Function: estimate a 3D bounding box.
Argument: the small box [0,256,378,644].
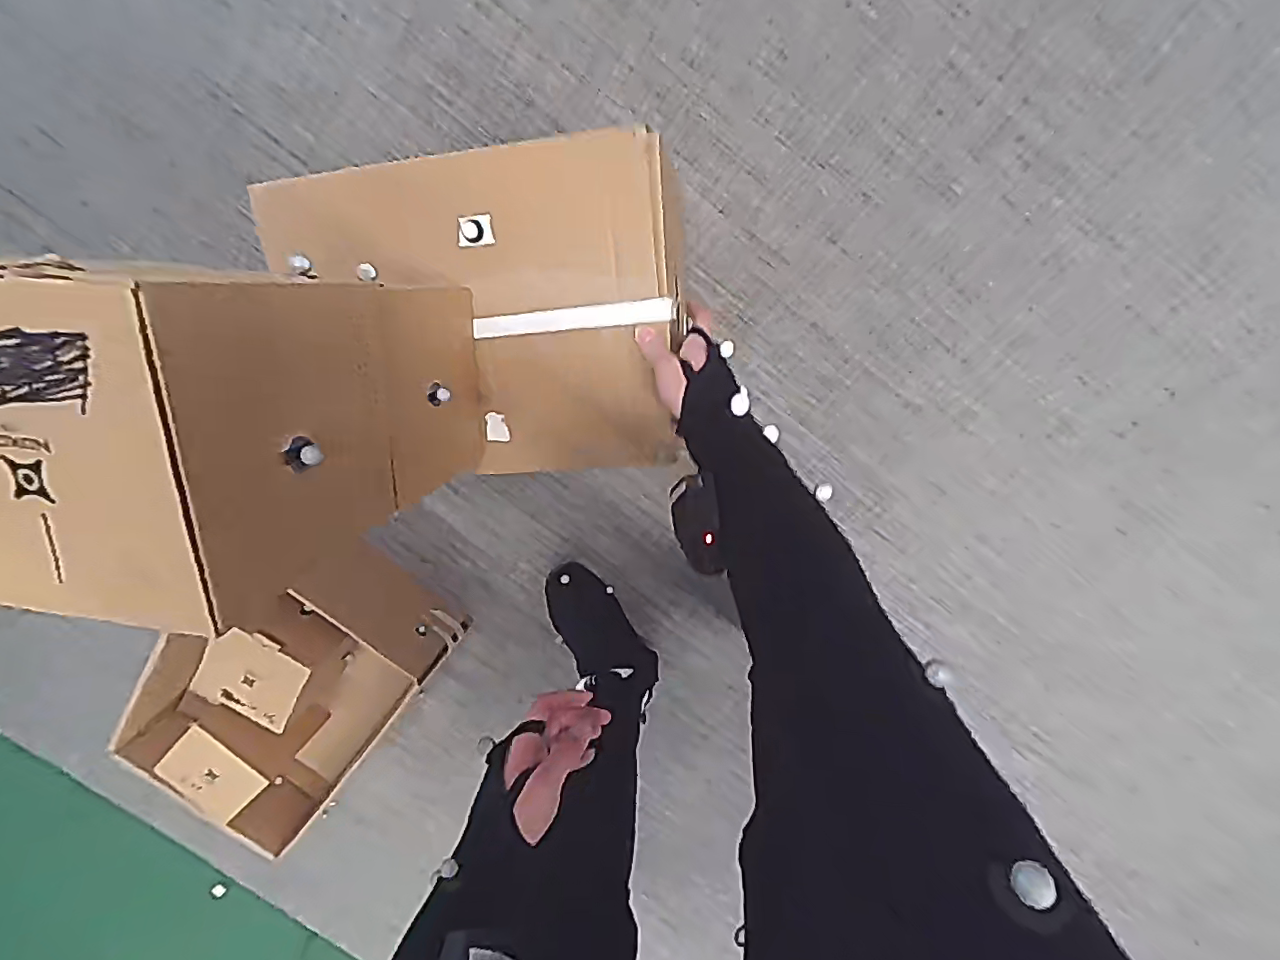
[{"bbox_3d":[-0.283,-0.035,0.324,0.168,0.176,0.179,8,111,5],"label":"small box"}]

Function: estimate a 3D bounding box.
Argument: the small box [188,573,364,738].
[{"bbox_3d":[-0.618,0.294,0.940,0.168,0.176,0.179,33,111,-4],"label":"small box"}]
